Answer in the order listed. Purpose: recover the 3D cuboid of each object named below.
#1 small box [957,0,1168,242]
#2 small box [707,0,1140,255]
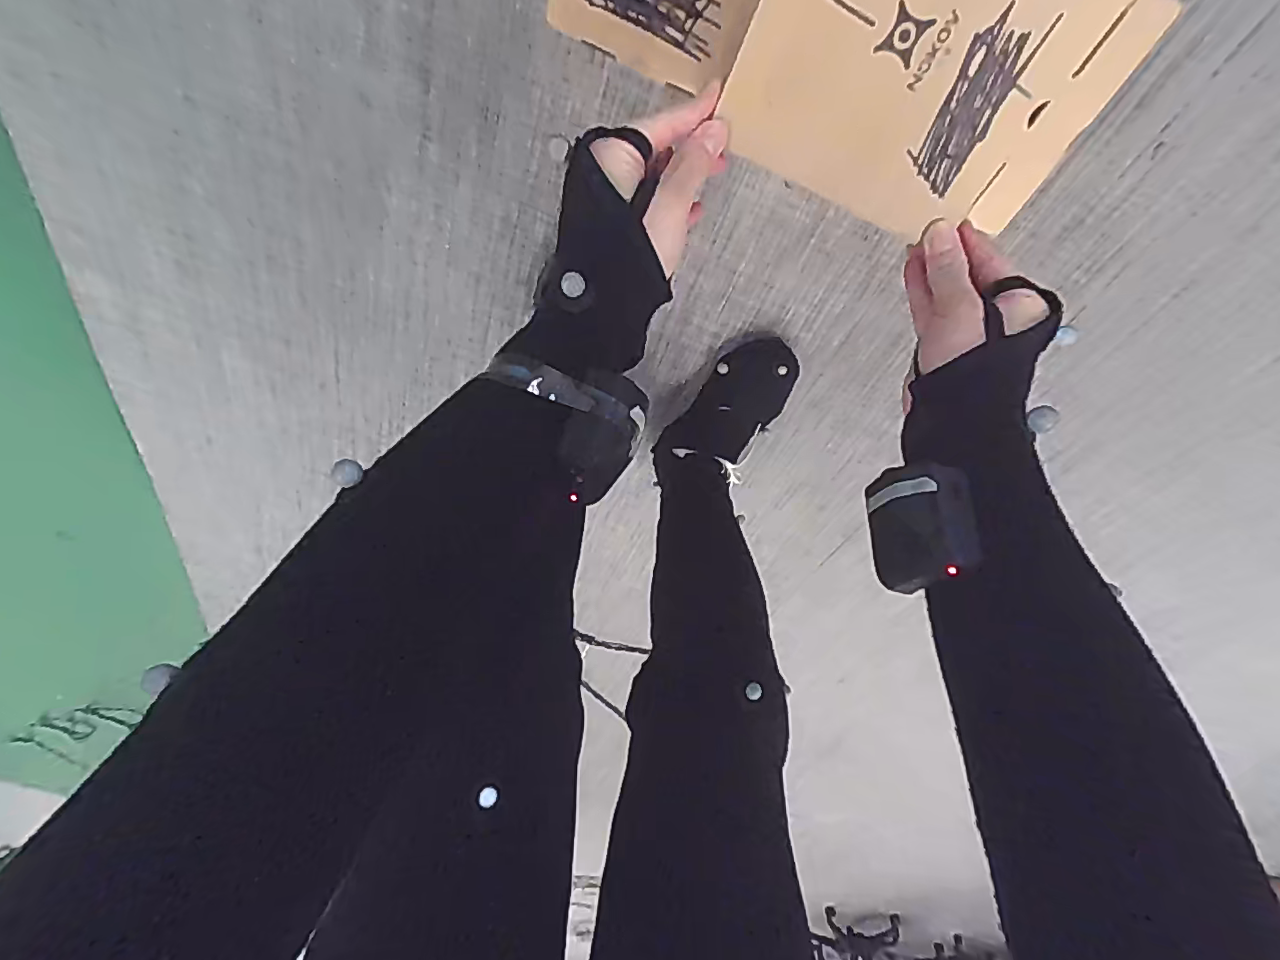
[{"bbox_3d":[0.291,-0.358,0.494,0.168,0.176,0.179,19,131,-10],"label":"small box"},{"bbox_3d":[0.158,-0.286,0.355,0.179,0.176,0.168,20,132,-10],"label":"small box"}]
